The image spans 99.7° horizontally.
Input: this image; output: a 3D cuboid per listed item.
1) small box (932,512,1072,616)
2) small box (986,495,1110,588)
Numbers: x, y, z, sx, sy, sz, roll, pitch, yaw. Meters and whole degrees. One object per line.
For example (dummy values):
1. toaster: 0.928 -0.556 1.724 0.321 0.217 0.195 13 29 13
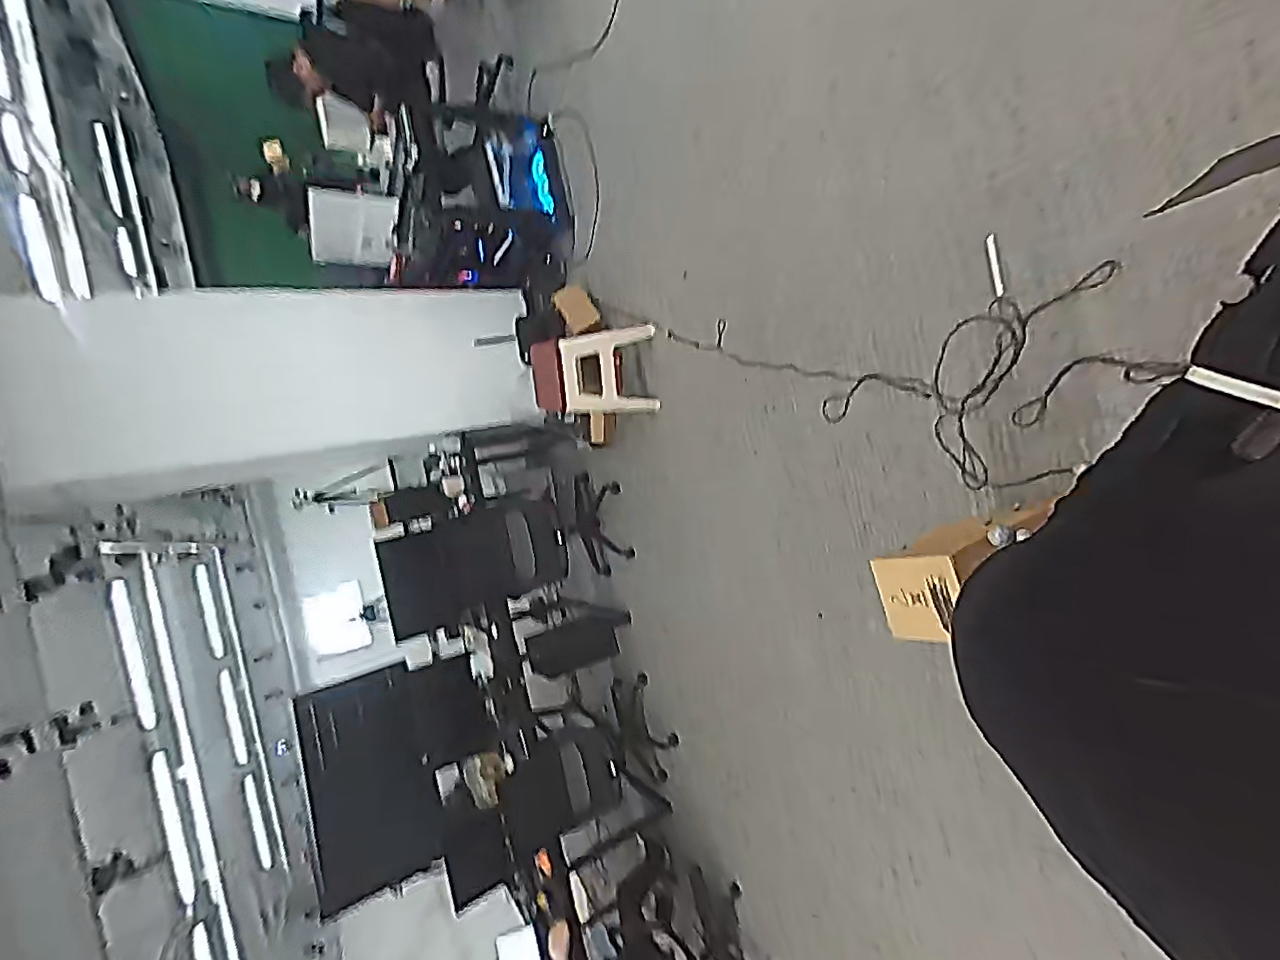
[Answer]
1. small box: 0.754 0.170 1.129 0.168 0.176 0.179 -21 85 60
2. small box: 0.893 0.141 1.209 0.179 0.176 0.168 -24 81 59
